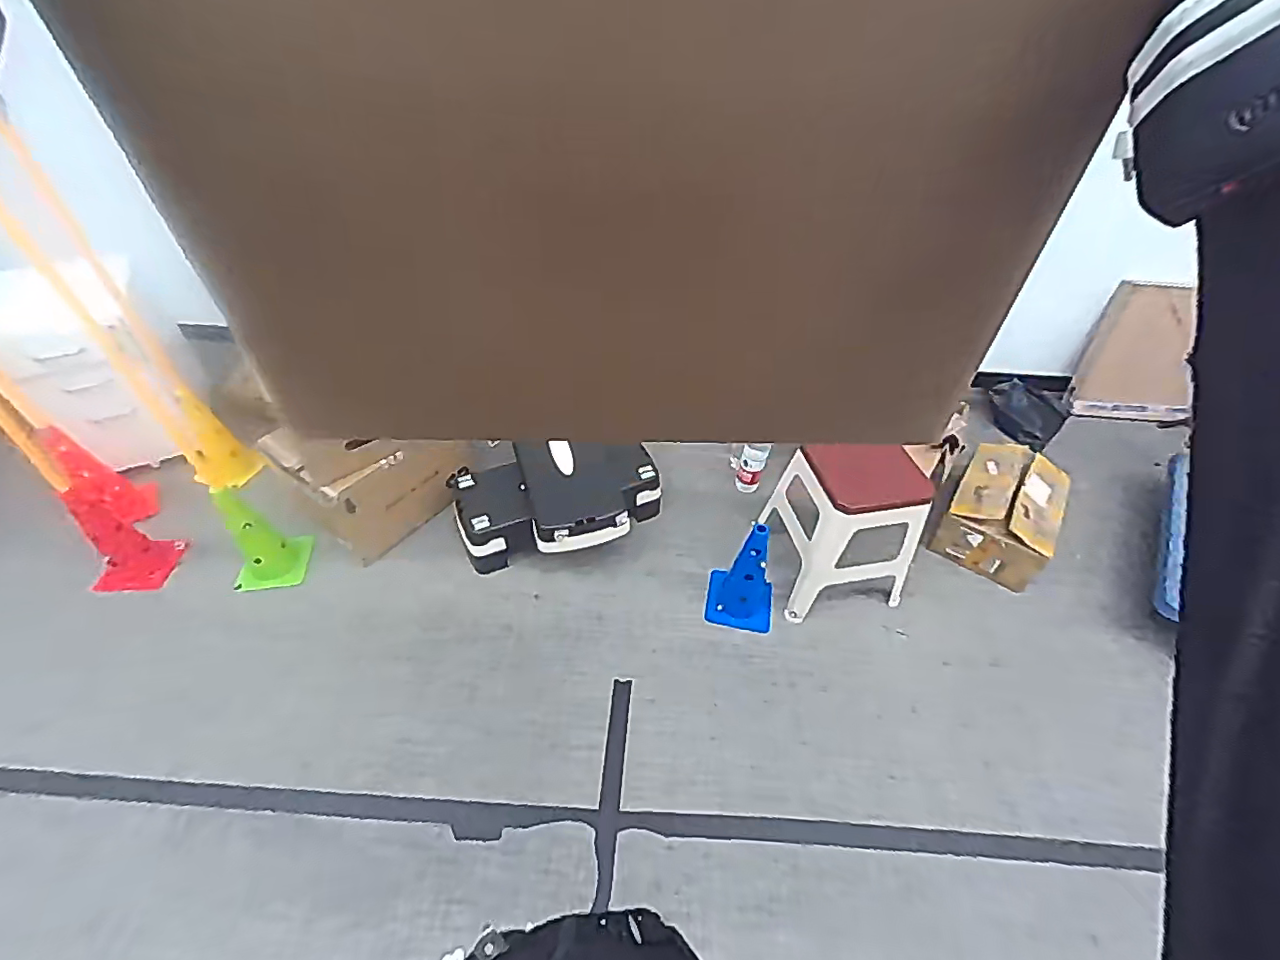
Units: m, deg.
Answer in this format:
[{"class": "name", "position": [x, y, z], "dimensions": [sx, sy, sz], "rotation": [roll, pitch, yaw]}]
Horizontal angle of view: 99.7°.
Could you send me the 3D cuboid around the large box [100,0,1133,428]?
[{"class": "large box", "position": [-0.011, -0.244, 0.350], "dimensions": [0.408, 0.320, 0.320], "rotation": [1, 46, -1]}]
